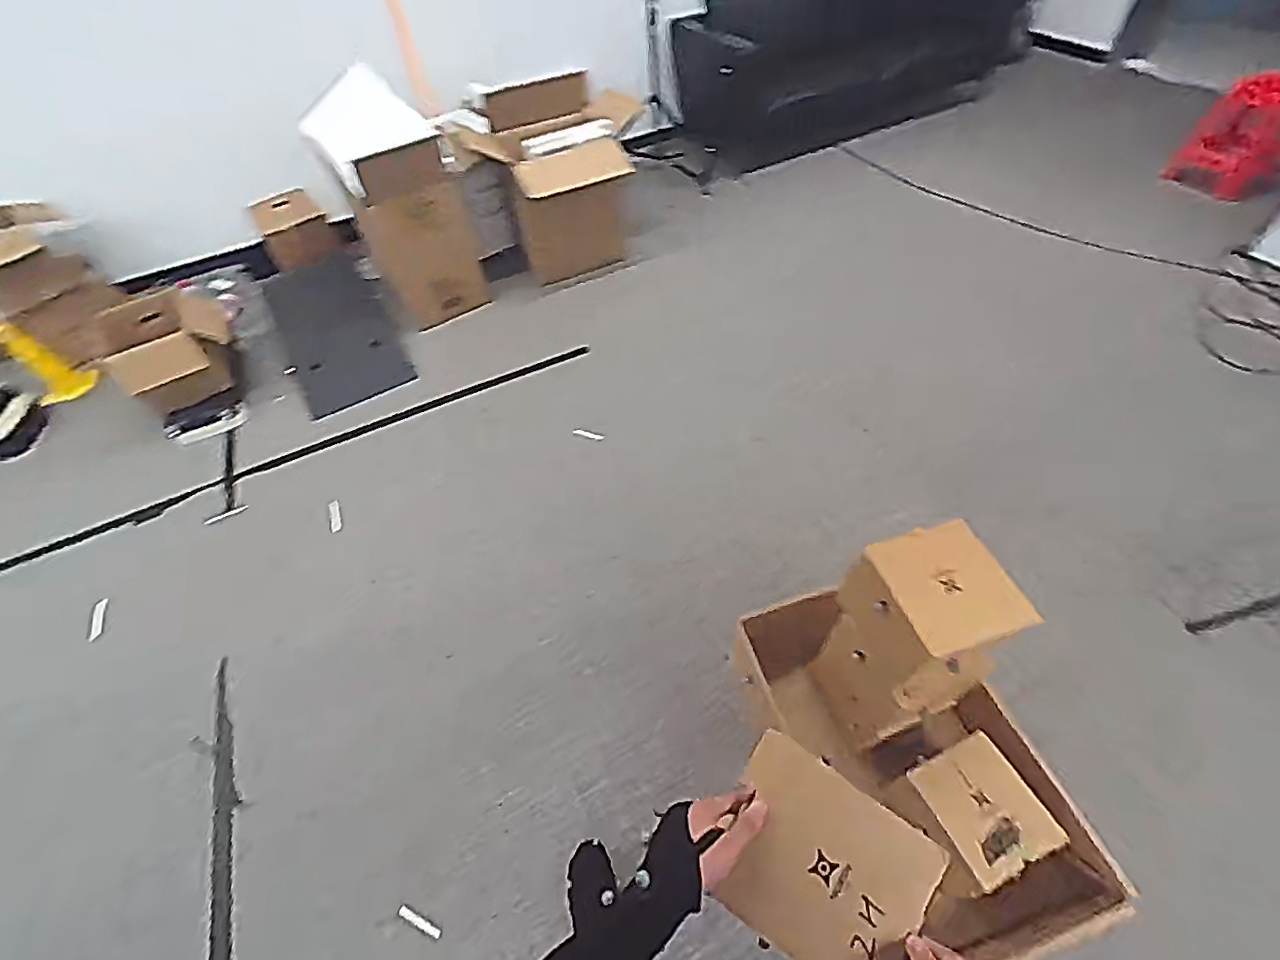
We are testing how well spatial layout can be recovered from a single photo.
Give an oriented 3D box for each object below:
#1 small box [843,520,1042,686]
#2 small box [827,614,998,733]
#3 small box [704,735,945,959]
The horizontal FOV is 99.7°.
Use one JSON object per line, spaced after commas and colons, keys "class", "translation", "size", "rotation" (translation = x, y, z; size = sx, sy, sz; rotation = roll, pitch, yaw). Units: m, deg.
{"class": "small box", "translation": [0.436, 0.193, 0.815], "size": [0.168, 0.176, 0.179], "rotation": [-15, 53, -8]}
{"class": "small box", "translation": [0.452, 0.310, 0.931], "size": [0.179, 0.176, 0.168], "rotation": [-17, 54, -10]}
{"class": "small box", "translation": [0.183, 0.404, 0.595], "size": [0.179, 0.176, 0.168], "rotation": [32, 75, 14]}
